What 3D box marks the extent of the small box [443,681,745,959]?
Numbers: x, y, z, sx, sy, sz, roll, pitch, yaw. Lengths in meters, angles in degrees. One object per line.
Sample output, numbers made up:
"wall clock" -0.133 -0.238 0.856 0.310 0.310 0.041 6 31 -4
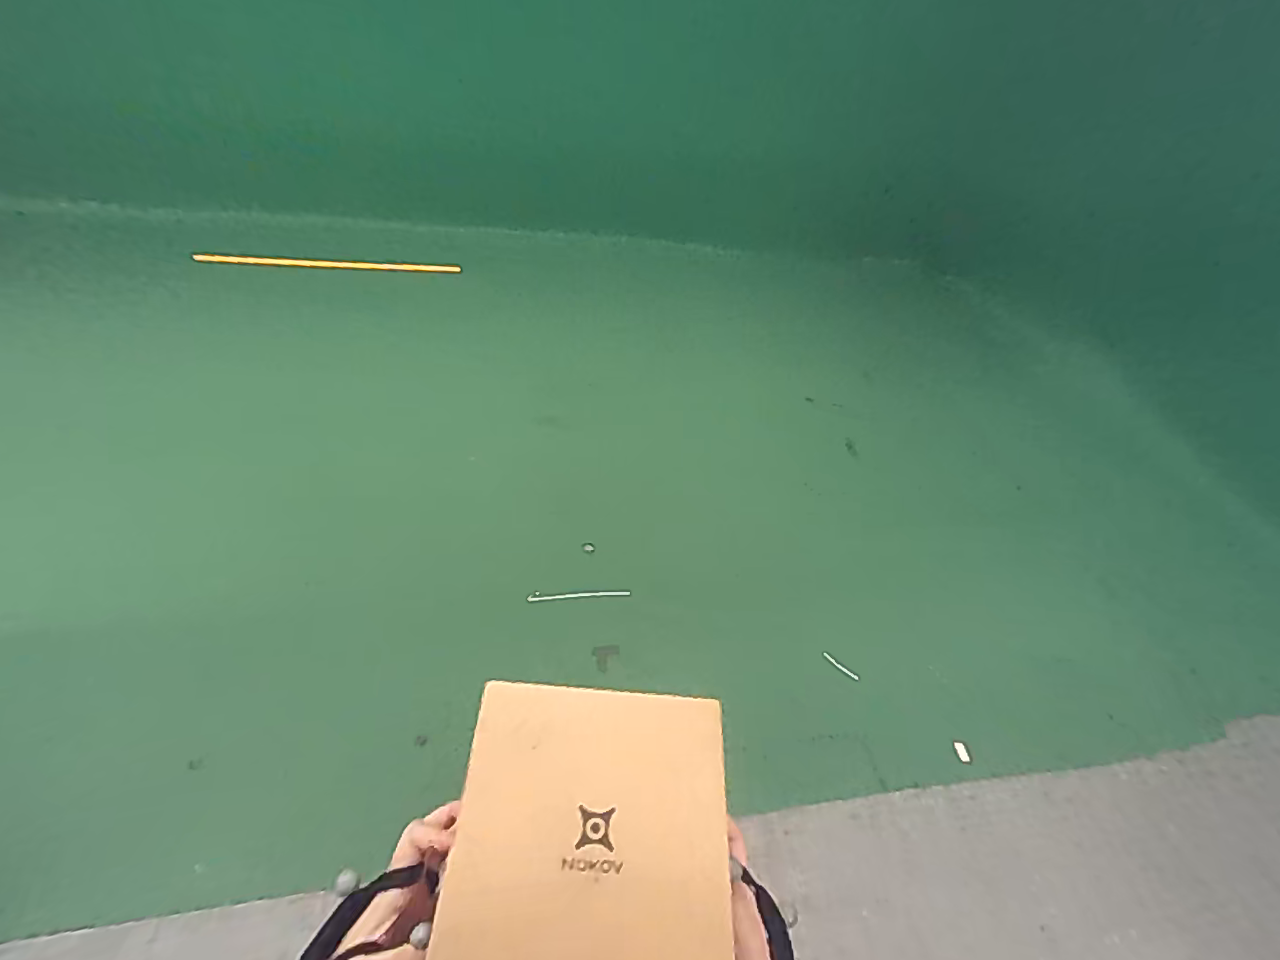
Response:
"small box" -0.033 0.267 0.386 0.168 0.176 0.179 7 49 -5
